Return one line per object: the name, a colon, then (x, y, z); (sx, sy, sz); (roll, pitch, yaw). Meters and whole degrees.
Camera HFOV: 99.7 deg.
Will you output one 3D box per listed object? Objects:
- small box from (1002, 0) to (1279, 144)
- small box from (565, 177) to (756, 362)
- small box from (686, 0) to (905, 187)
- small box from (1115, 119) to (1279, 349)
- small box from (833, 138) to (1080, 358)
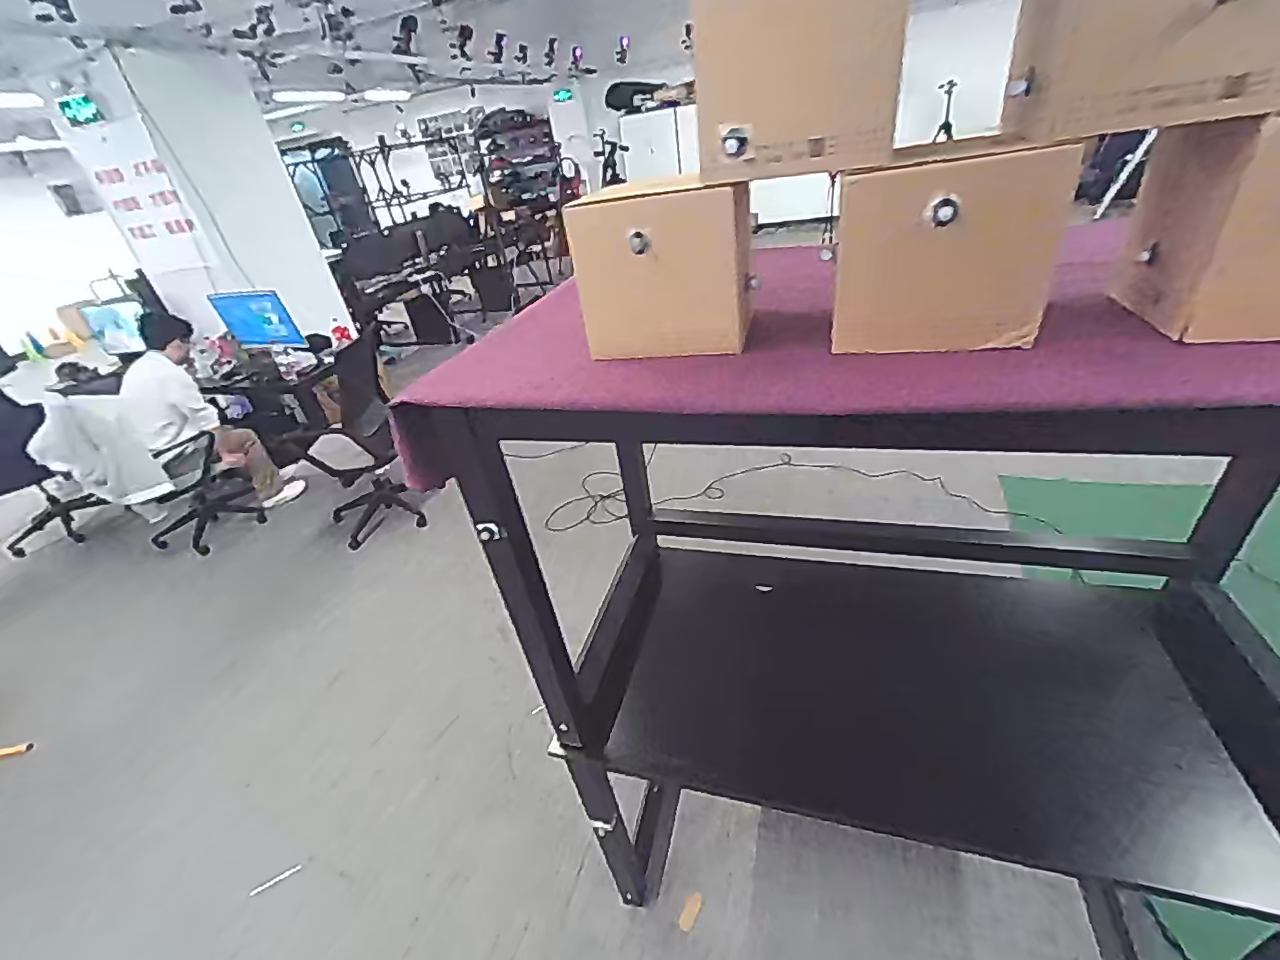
small box: (0.403, -0.365, 0.414); (0.168, 0.176, 0.179); (2, 35, 19)
small box: (0.037, -0.245, 0.632); (0.179, 0.176, 0.168); (1, 35, 17)
small box: (0.150, -0.377, 0.502); (0.168, 0.176, 0.179); (4, 35, 20)
small box: (0.552, -0.218, 0.450); (0.179, 0.176, 0.168); (1, 34, 20)
small box: (0.288, -0.227, 0.538); (0.179, 0.176, 0.168); (3, 35, 19)
